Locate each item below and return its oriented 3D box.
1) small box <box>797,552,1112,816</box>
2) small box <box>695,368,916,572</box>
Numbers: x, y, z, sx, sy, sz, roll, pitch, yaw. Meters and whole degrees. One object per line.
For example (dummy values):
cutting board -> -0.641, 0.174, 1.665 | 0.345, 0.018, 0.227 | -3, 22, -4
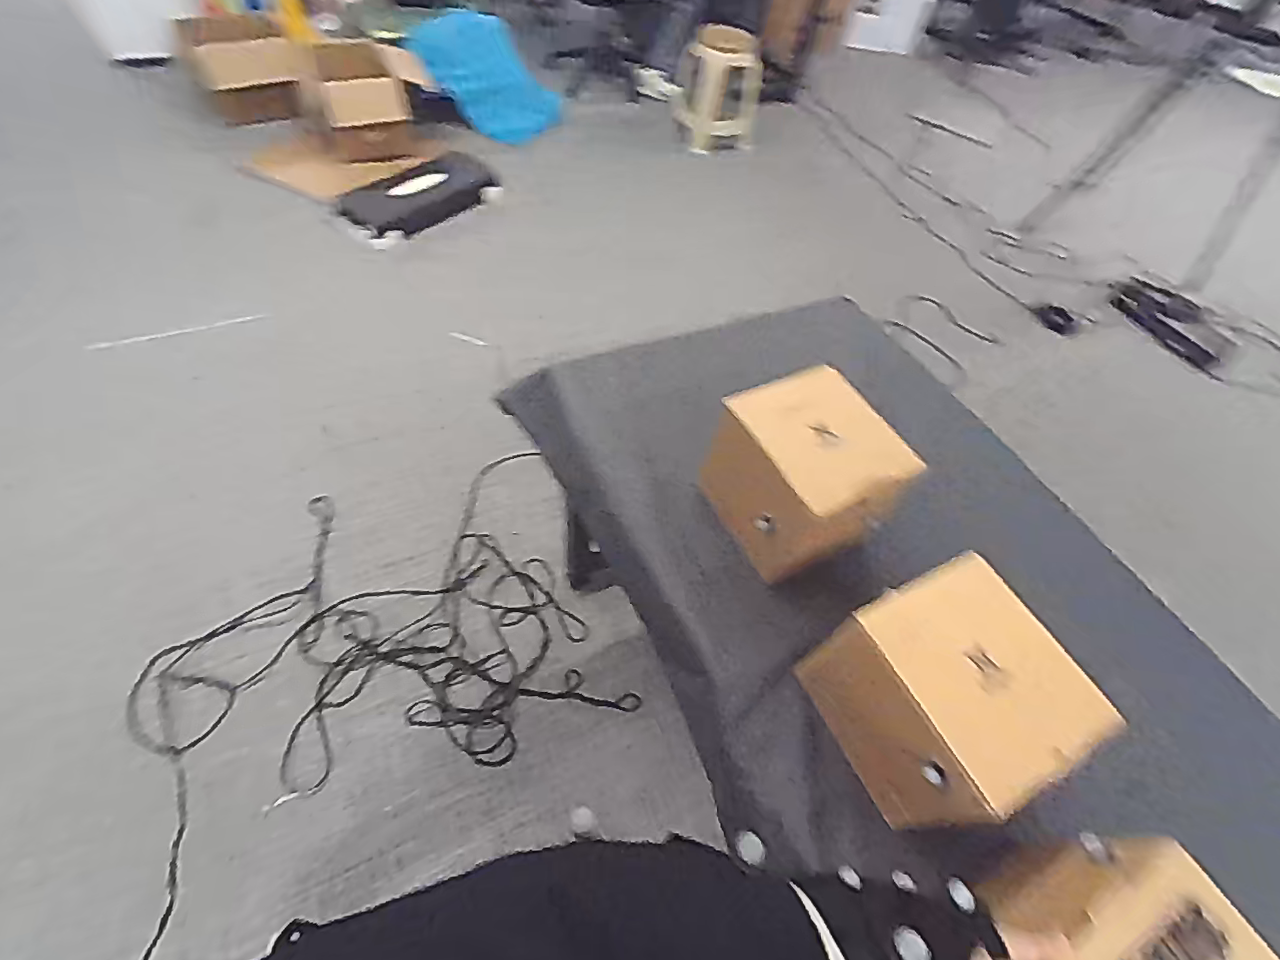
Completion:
small box -> 0.291, 0.207, 0.544 | 0.168, 0.176, 0.179 | -20, 60, -21
small box -> 0.192, -0.005, 0.680 | 0.168, 0.176, 0.179 | -21, 59, -22
